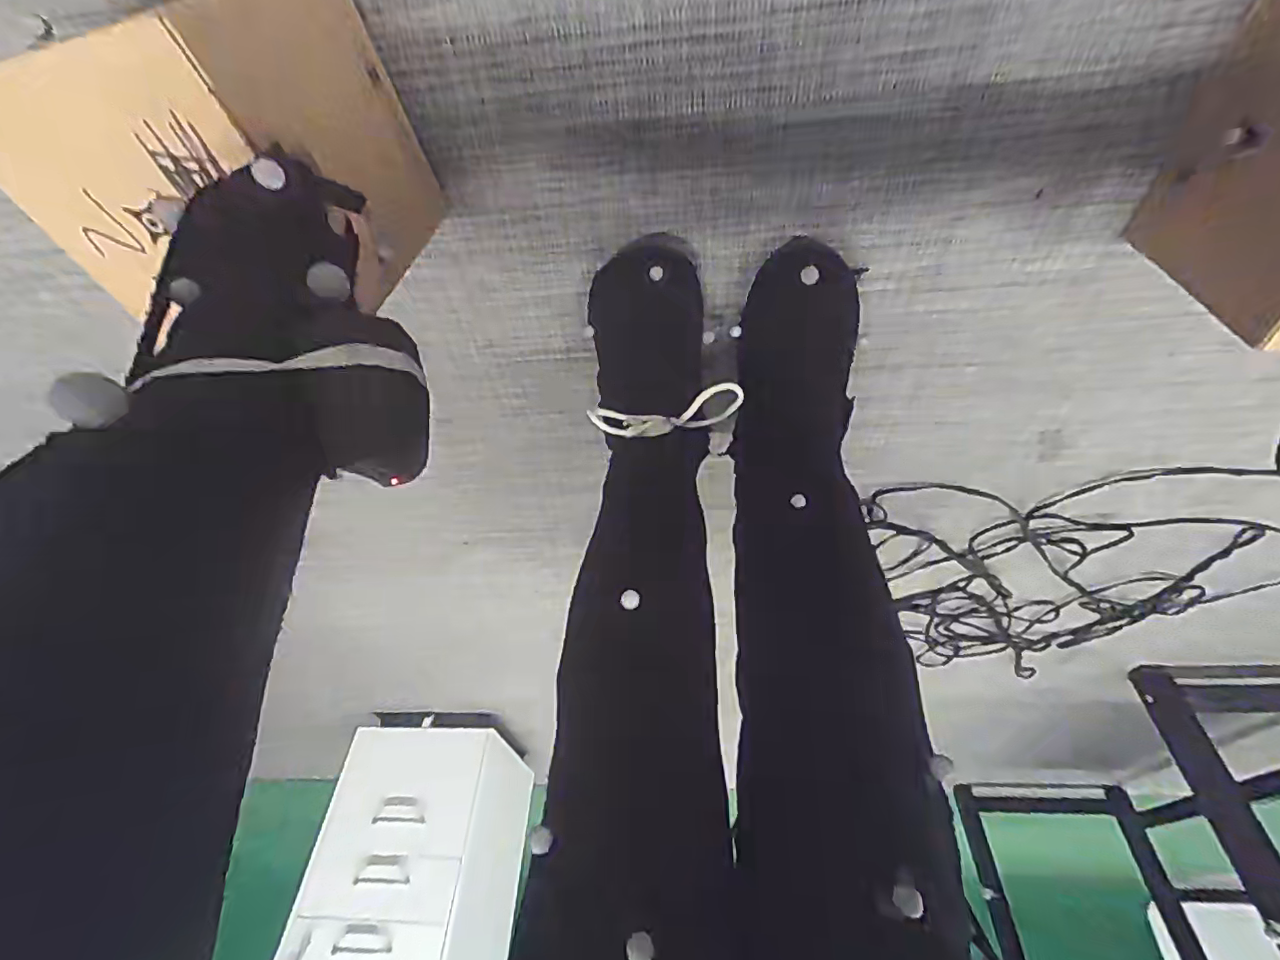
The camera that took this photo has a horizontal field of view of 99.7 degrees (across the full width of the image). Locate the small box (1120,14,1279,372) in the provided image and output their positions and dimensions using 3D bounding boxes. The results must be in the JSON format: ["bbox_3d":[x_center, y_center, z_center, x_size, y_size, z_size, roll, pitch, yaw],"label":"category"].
[{"bbox_3d":[0.480,-0.191,0.344,0.179,0.176,0.168,-3,140,7],"label":"small box"}]
